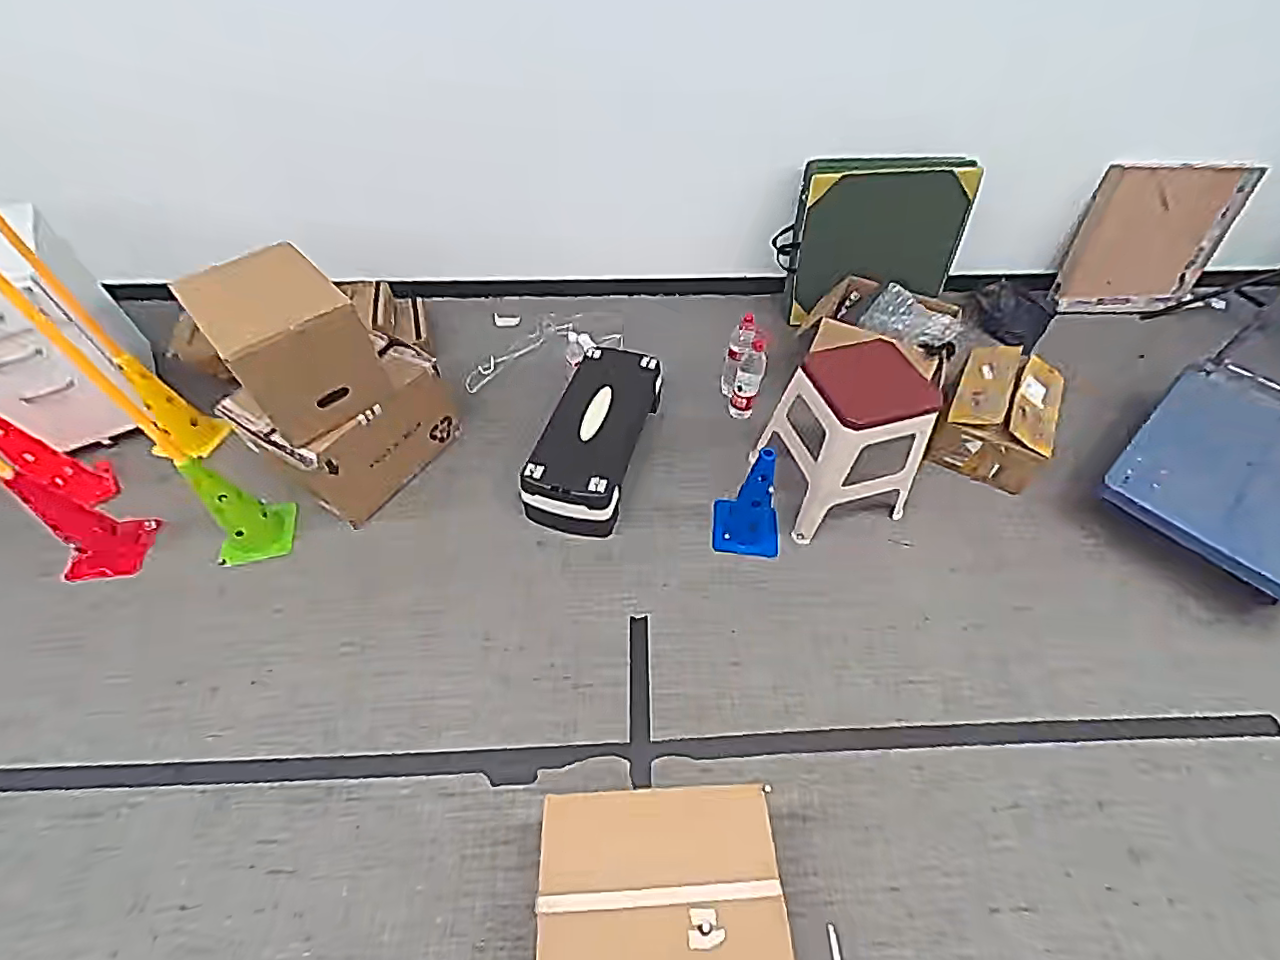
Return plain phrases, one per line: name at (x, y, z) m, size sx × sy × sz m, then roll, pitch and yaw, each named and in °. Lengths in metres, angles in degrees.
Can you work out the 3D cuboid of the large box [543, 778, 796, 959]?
large box at (0.035, 0.775, 1.015) m, size 0.408 × 0.320 × 0.320 m, roll -2°, pitch 52°, yaw -4°
